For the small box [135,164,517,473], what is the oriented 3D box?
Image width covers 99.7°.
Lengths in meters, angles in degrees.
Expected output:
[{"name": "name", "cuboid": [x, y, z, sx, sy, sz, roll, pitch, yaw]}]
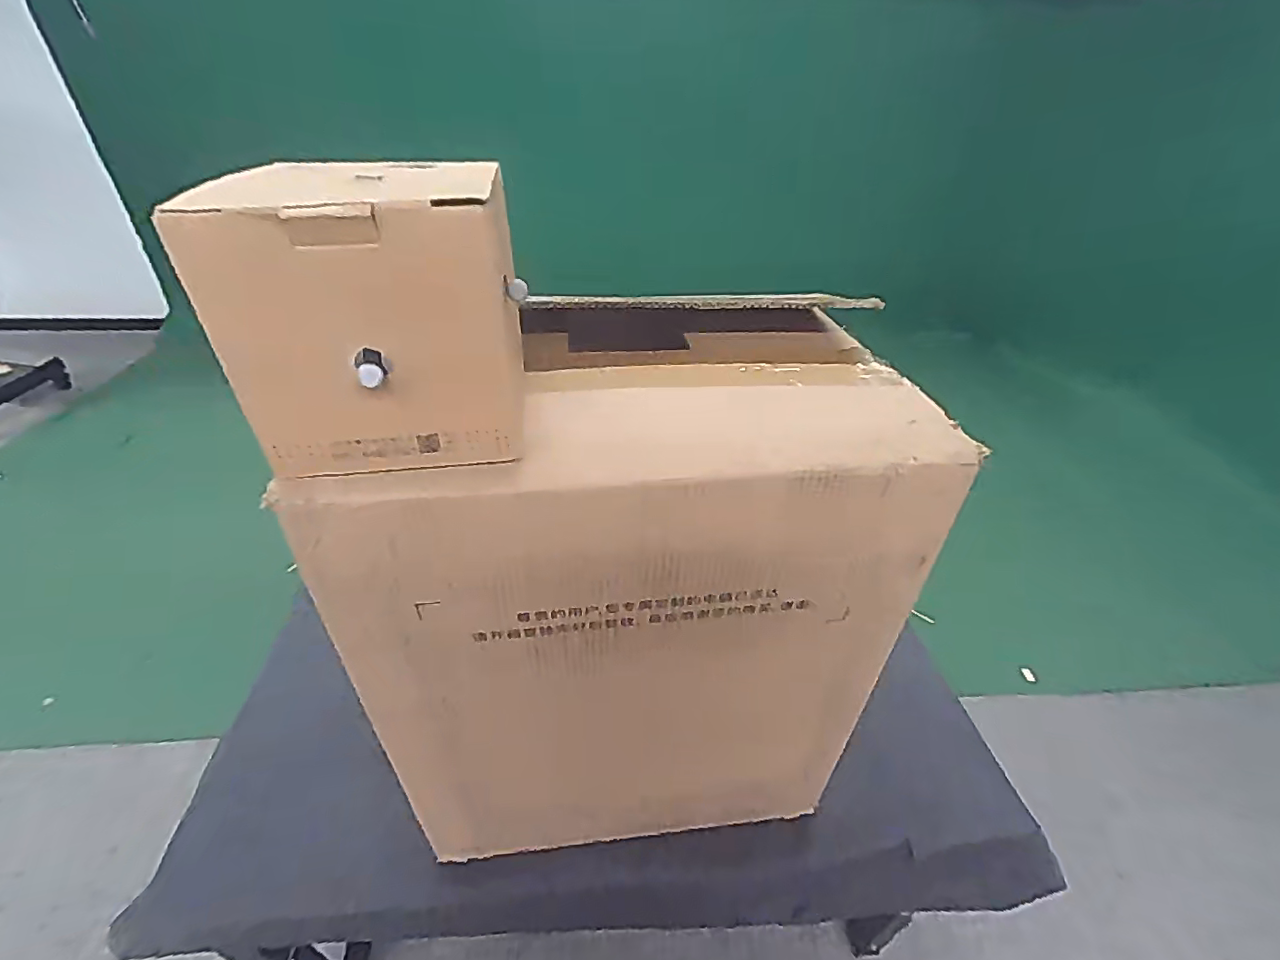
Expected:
[{"name": "small box", "cuboid": [-0.183, -0.116, 0.390, 0.168, 0.176, 0.179, -6, 38, -8]}]
